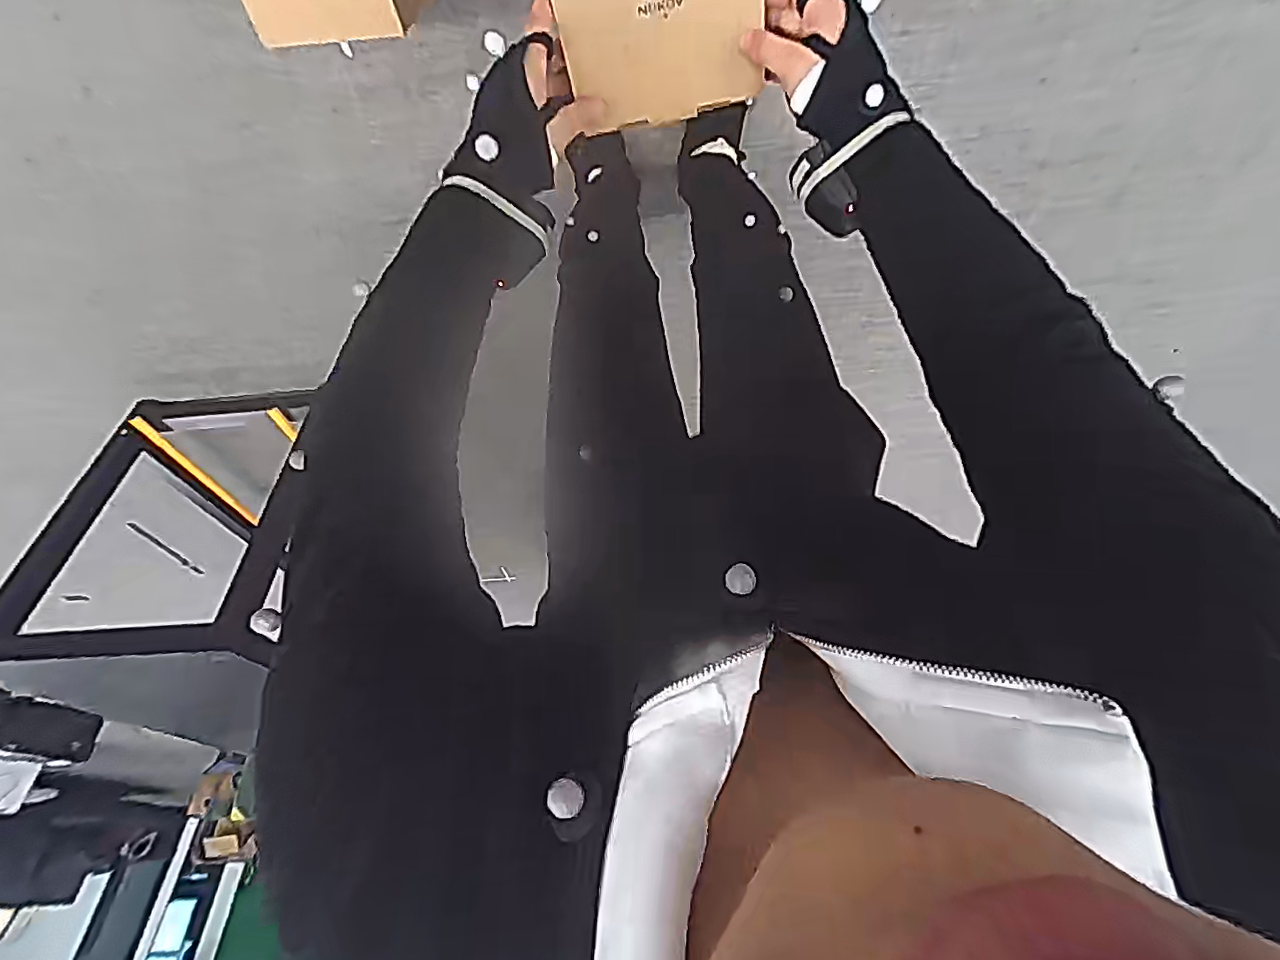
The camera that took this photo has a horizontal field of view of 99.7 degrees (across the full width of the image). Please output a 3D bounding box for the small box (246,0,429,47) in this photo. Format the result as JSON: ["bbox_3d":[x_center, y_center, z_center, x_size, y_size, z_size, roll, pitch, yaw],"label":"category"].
[{"bbox_3d":[-0.351,-0.616,0.595,0.168,0.176,0.179,-3,145,3],"label":"small box"}]
